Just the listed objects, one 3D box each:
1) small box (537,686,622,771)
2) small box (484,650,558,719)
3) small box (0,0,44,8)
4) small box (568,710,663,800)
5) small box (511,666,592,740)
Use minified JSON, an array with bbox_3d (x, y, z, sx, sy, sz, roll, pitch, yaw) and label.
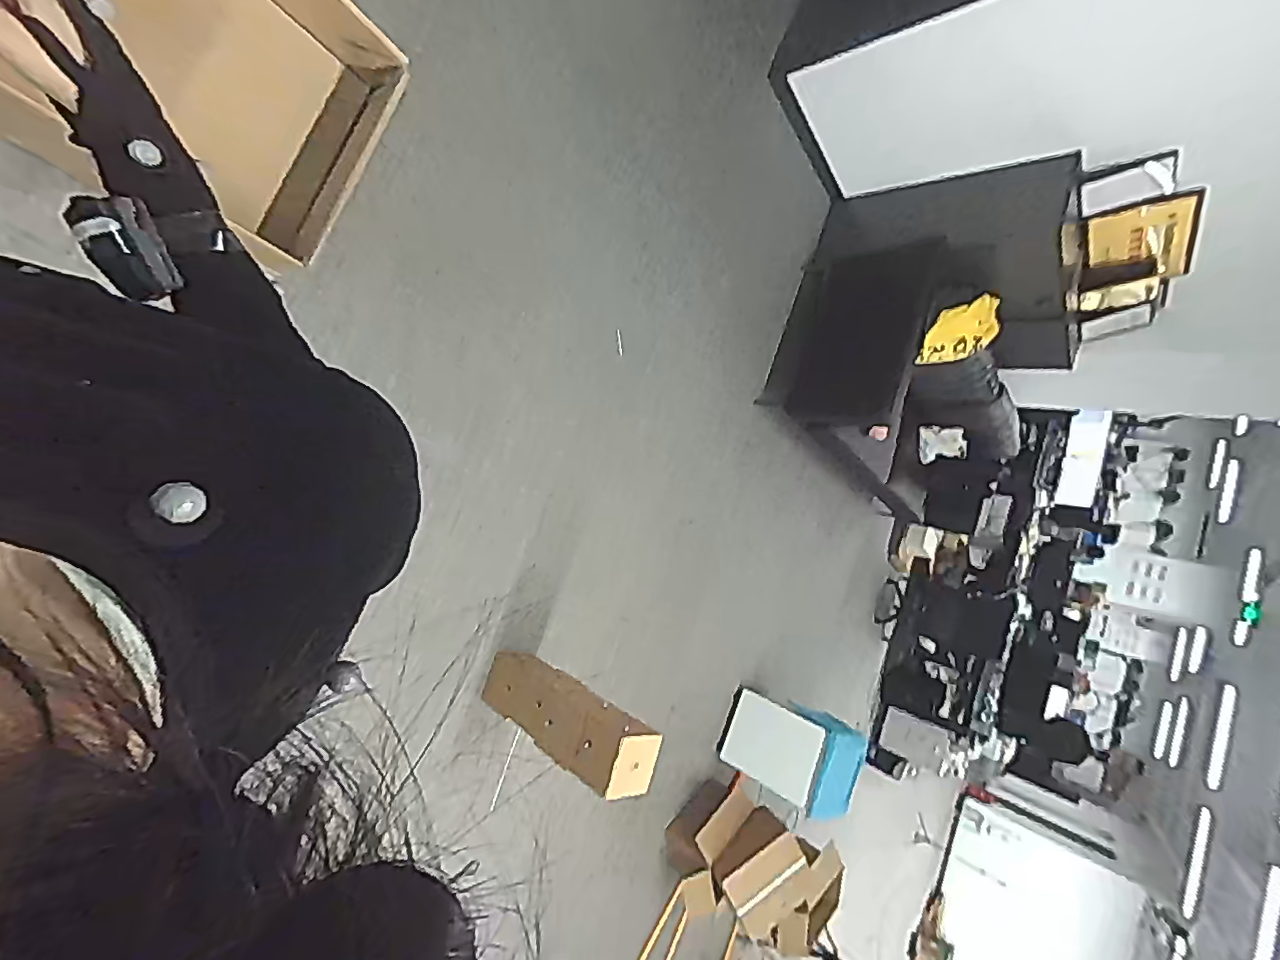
[{"bbox_3d":[-0.186,0.746,1.637,0.168,0.176,0.179,24,82,-46],"label":"small box"},{"bbox_3d":[-0.413,0.706,1.870,0.168,0.176,0.179,27,80,-46],"label":"small box"},{"bbox_3d":[-0.733,-0.664,0.581,0.179,0.176,0.168,32,76,-46],"label":"small box"},{"bbox_3d":[-0.069,0.765,1.524,0.179,0.176,0.168,24,81,-45],"label":"small box"},{"bbox_3d":[-0.292,0.721,1.760,0.168,0.176,0.179,27,79,-45],"label":"small box"}]
